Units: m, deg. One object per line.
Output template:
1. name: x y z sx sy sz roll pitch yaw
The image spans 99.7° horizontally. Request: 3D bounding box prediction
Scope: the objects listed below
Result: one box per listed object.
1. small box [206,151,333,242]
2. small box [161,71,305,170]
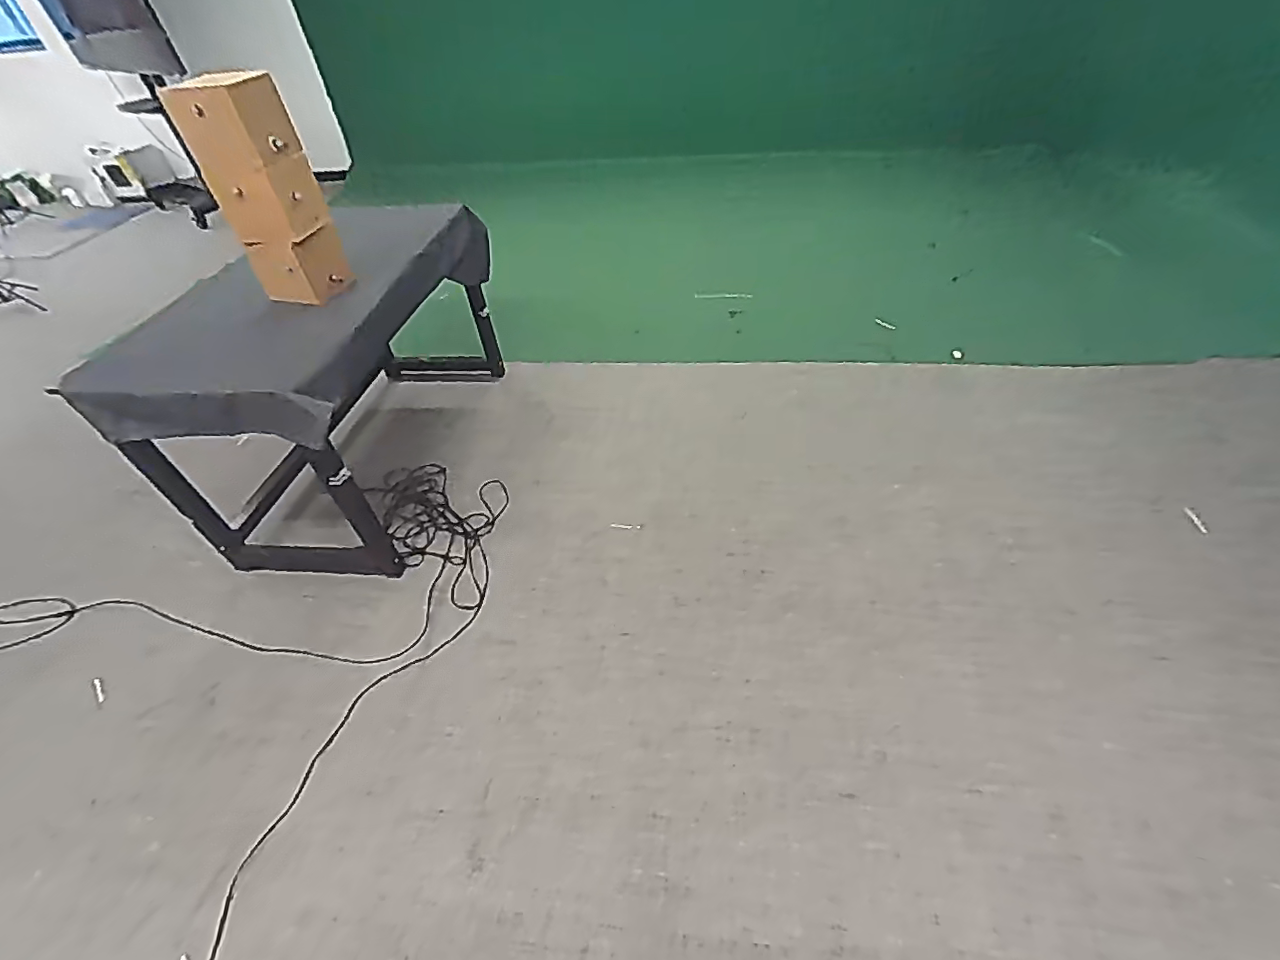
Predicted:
1. small box: -0.936 -0.726 1.388 0.179 0.176 0.168 3 45 9
2. small box: -0.949 -0.846 1.280 0.179 0.176 0.168 3 46 7
